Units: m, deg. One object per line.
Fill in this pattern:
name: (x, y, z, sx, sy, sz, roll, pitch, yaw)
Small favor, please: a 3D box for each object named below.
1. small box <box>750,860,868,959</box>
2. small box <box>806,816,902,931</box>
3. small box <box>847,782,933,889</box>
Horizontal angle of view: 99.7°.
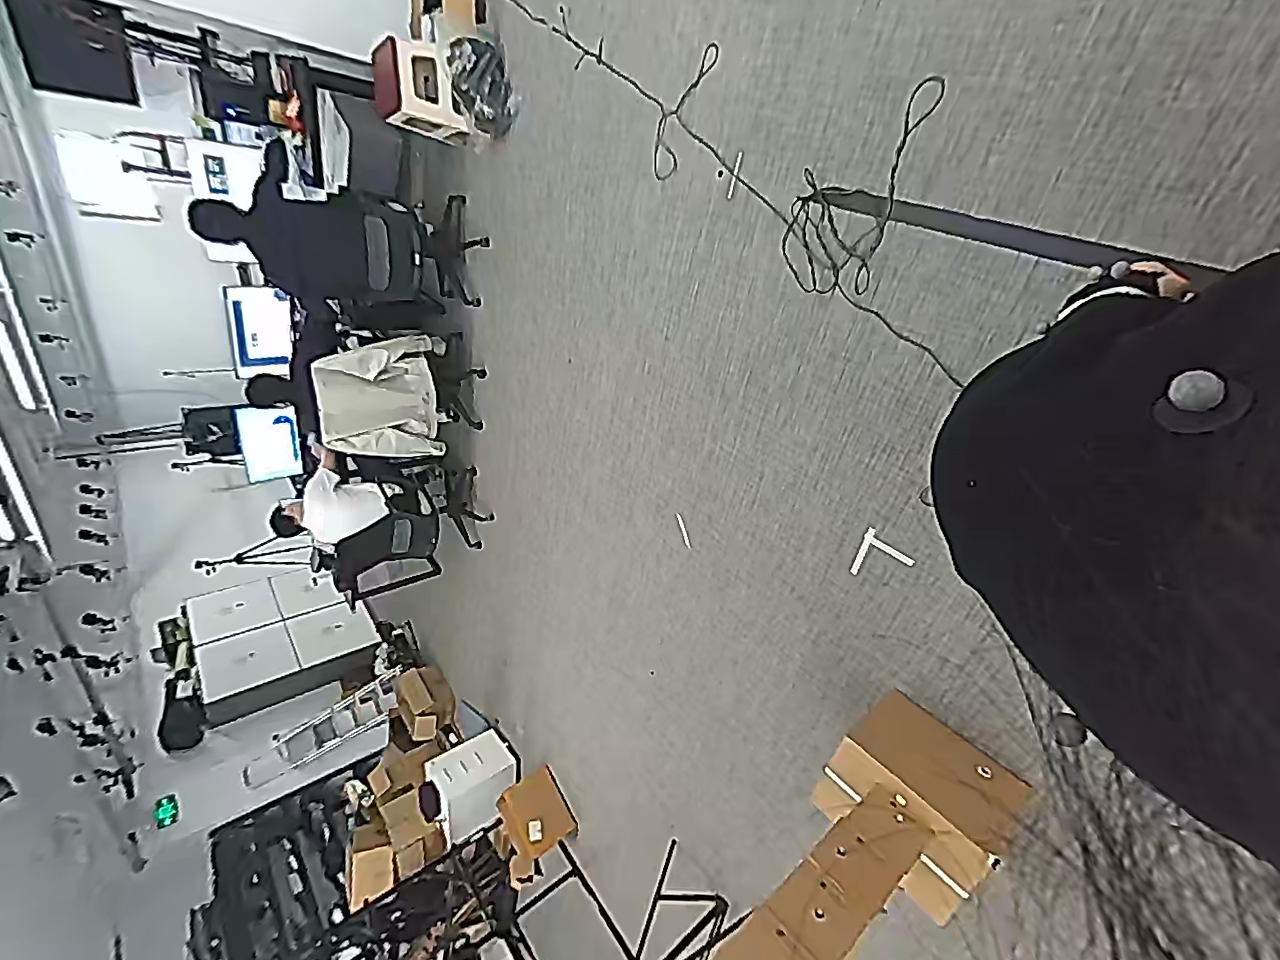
small box: (0.369, 0.989, 1.179, 0.168, 0.176, 0.179, 30, 122, 43)
small box: (0.492, 0.953, 1.283, 0.168, 0.176, 0.179, 34, 126, 41)
small box: (0.616, 0.928, 1.385, 0.168, 0.176, 0.179, 35, 125, 39)
